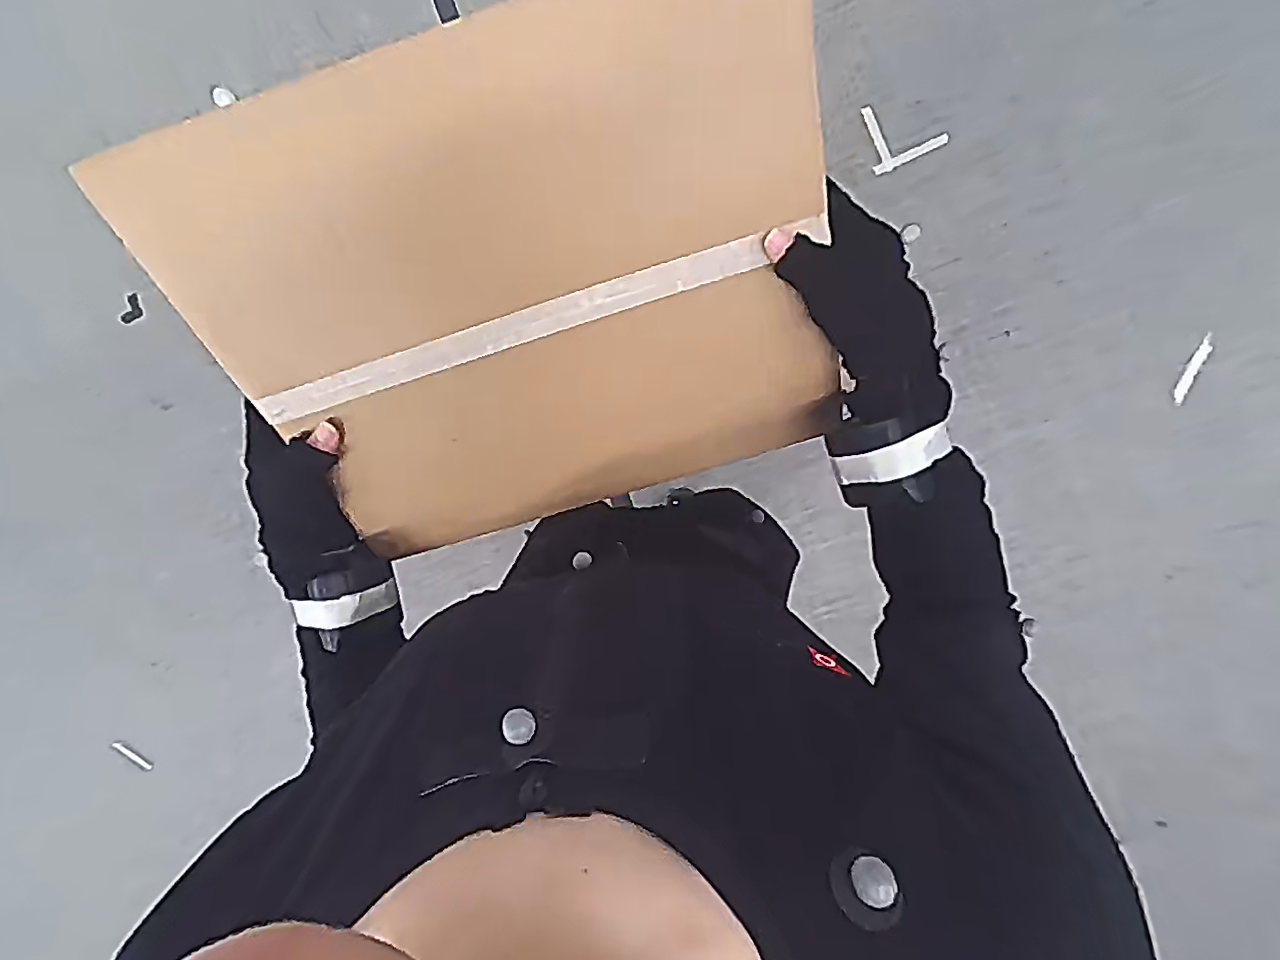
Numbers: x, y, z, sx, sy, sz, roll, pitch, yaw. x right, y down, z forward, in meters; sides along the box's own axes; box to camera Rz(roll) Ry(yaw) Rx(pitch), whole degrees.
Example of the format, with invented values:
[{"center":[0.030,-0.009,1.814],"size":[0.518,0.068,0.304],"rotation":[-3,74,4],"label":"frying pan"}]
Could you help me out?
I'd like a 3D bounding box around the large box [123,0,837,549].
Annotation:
[{"center":[-0.085,-0.196,0.497],"size":[0.408,0.320,0.320],"rotation":[-17,125,5],"label":"large box"}]
